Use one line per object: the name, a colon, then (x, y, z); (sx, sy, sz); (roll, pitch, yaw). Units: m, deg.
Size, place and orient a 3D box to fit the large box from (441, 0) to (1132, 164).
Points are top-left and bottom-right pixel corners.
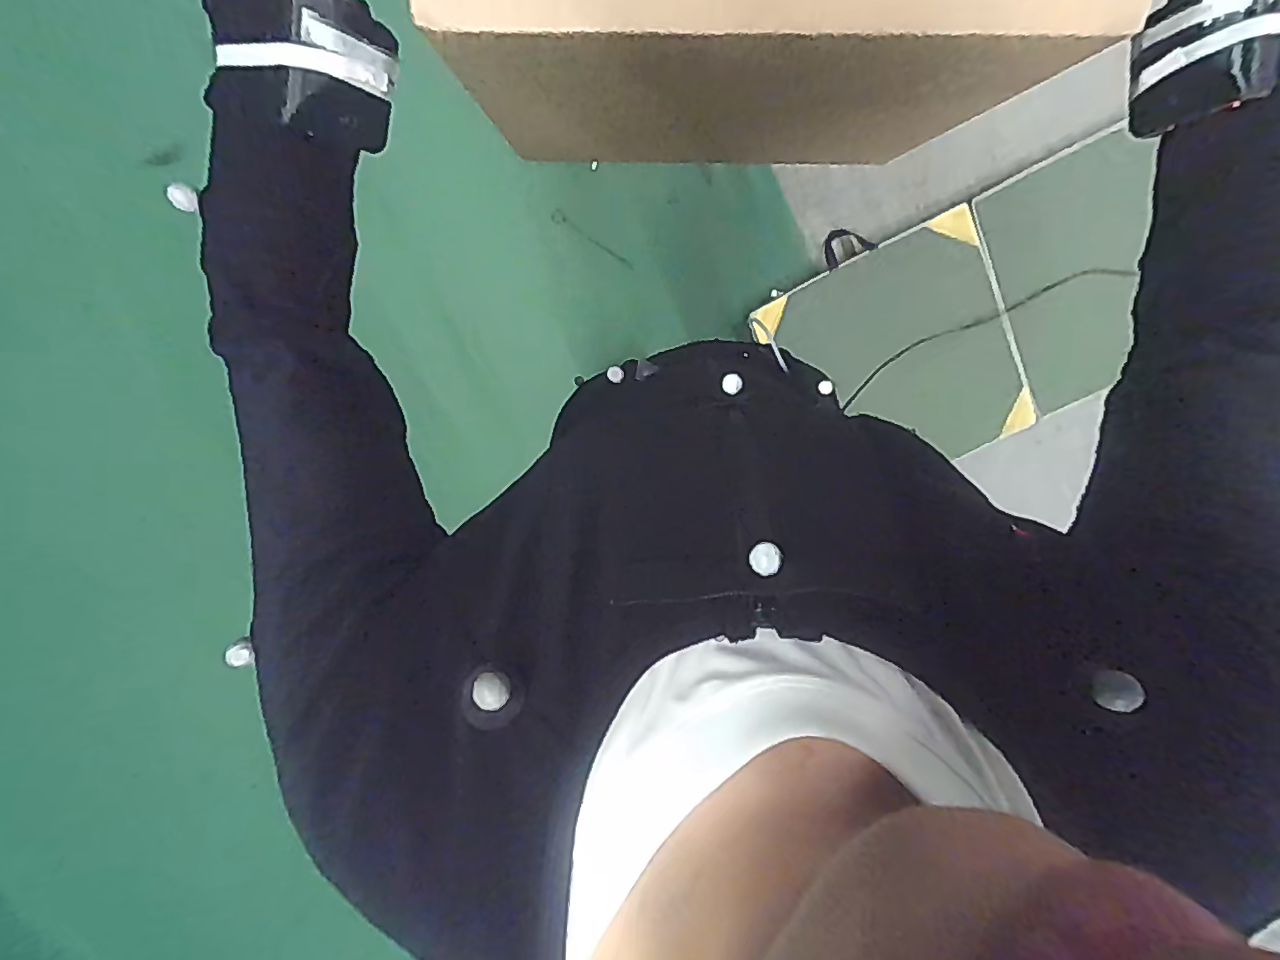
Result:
large box: (0.077, -0.447, 0.403); (0.408, 0.320, 0.320); (-1, 109, -3)
